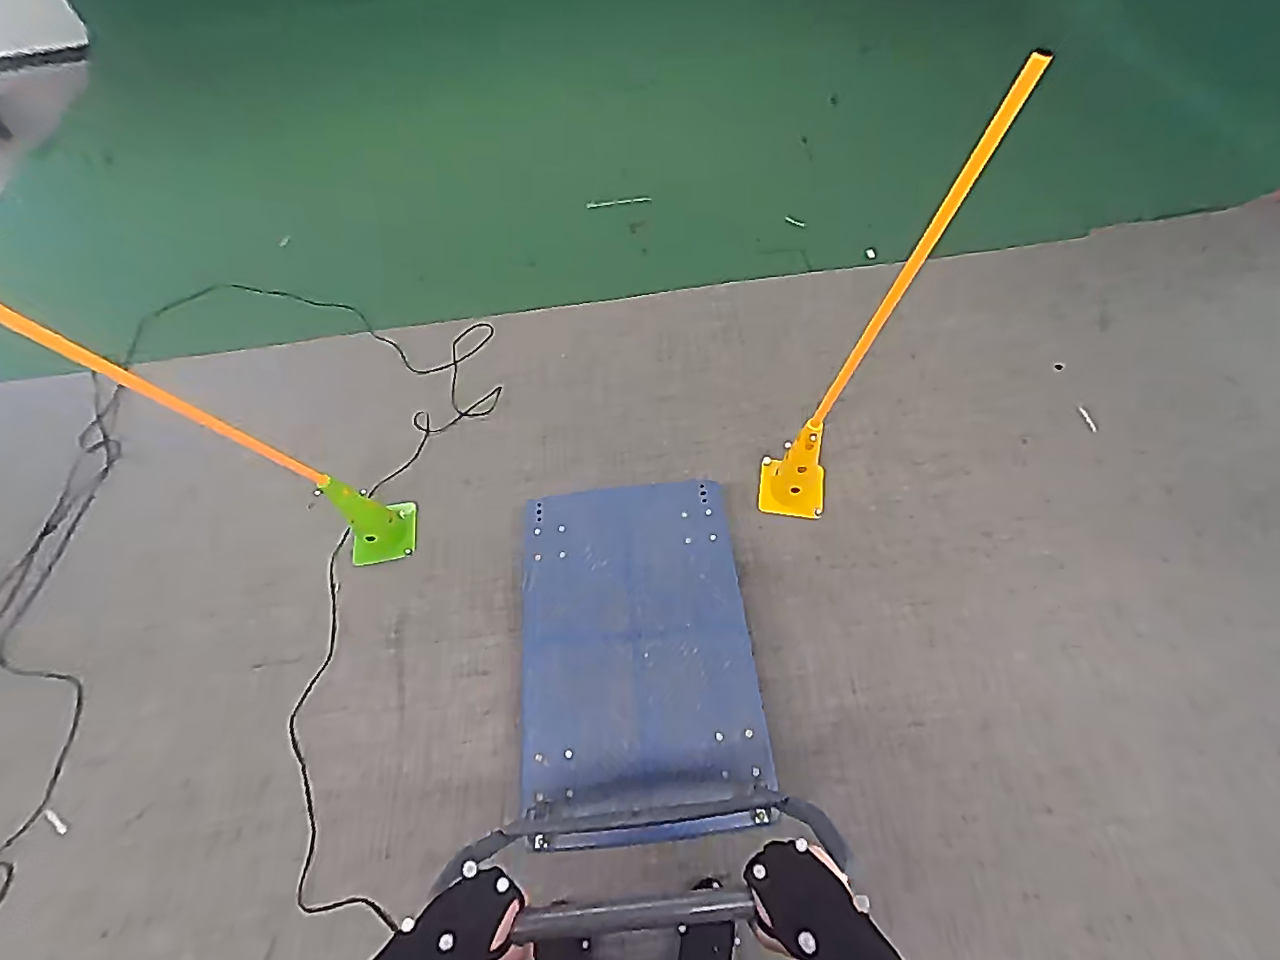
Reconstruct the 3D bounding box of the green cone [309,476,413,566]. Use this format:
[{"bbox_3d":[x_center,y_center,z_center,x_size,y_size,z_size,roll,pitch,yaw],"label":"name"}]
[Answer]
[{"bbox_3d":[-0.855,0.089,1.615,0.202,0.368,0.200,-12,60,-1],"label":"green cone"}]
